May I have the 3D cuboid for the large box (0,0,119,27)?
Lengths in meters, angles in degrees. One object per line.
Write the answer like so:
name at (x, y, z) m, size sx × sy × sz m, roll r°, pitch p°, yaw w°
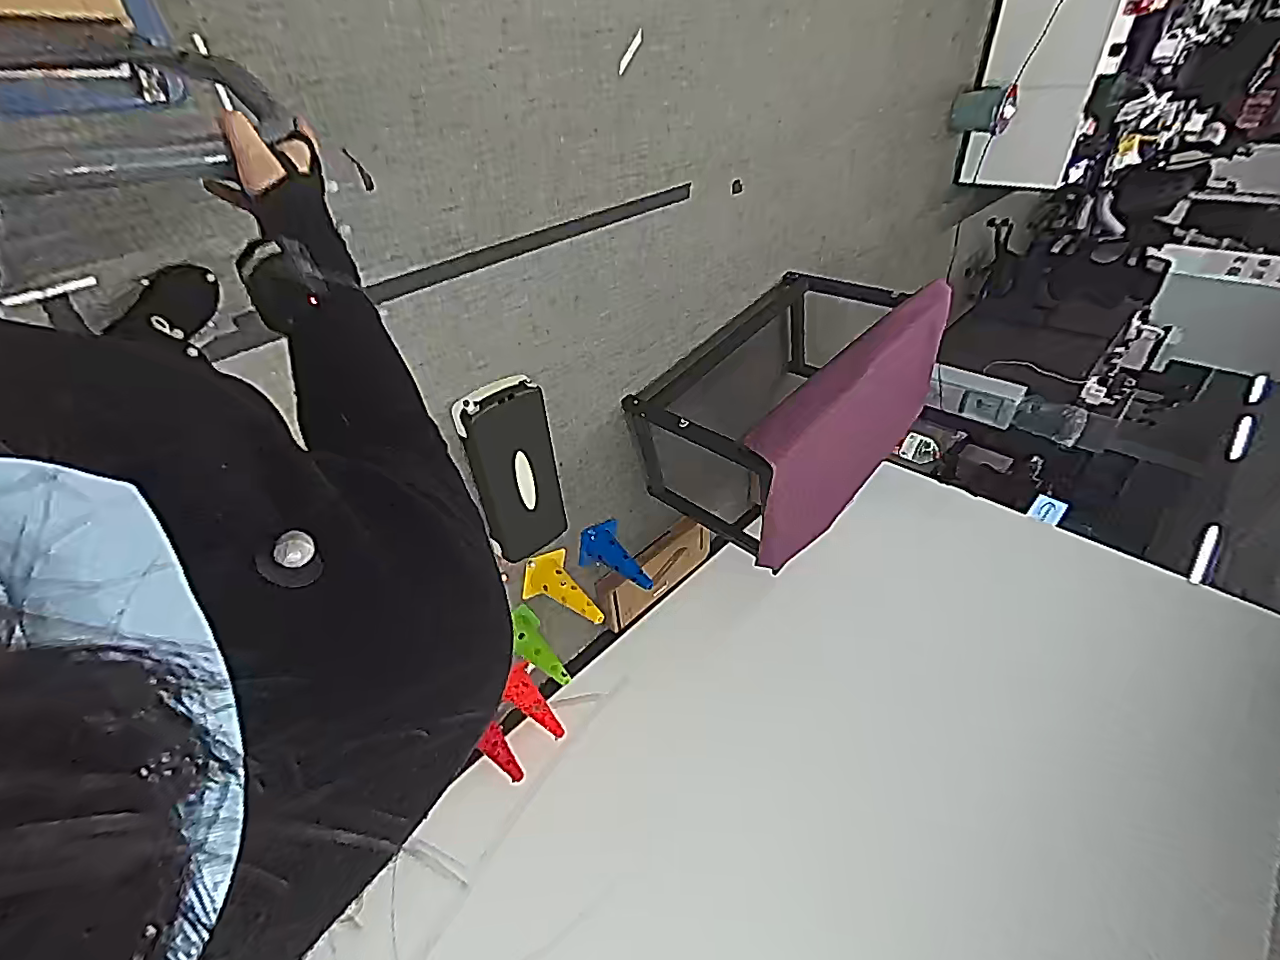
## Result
large box at (-0.848, -0.641, 0.511) m, size 0.408 × 0.320 × 0.320 m, roll -31°, pitch 137°, yaw -34°
